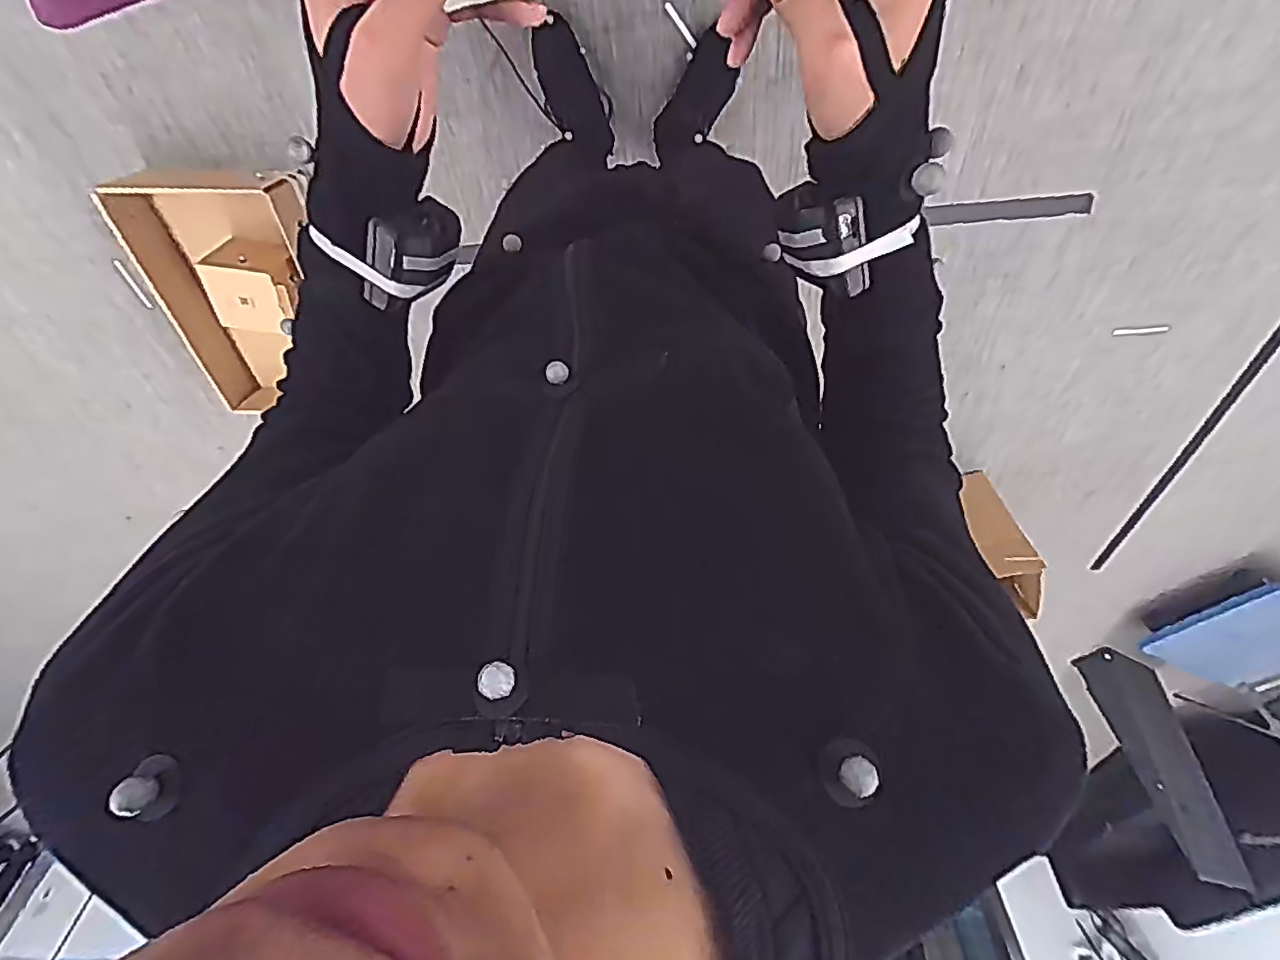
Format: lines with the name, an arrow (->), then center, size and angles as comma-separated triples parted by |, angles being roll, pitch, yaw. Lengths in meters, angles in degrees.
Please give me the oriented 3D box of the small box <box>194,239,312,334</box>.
small box -> -0.975, -0.499, 1.388 | 0.179, 0.176, 0.168 | 6, 134, -6
